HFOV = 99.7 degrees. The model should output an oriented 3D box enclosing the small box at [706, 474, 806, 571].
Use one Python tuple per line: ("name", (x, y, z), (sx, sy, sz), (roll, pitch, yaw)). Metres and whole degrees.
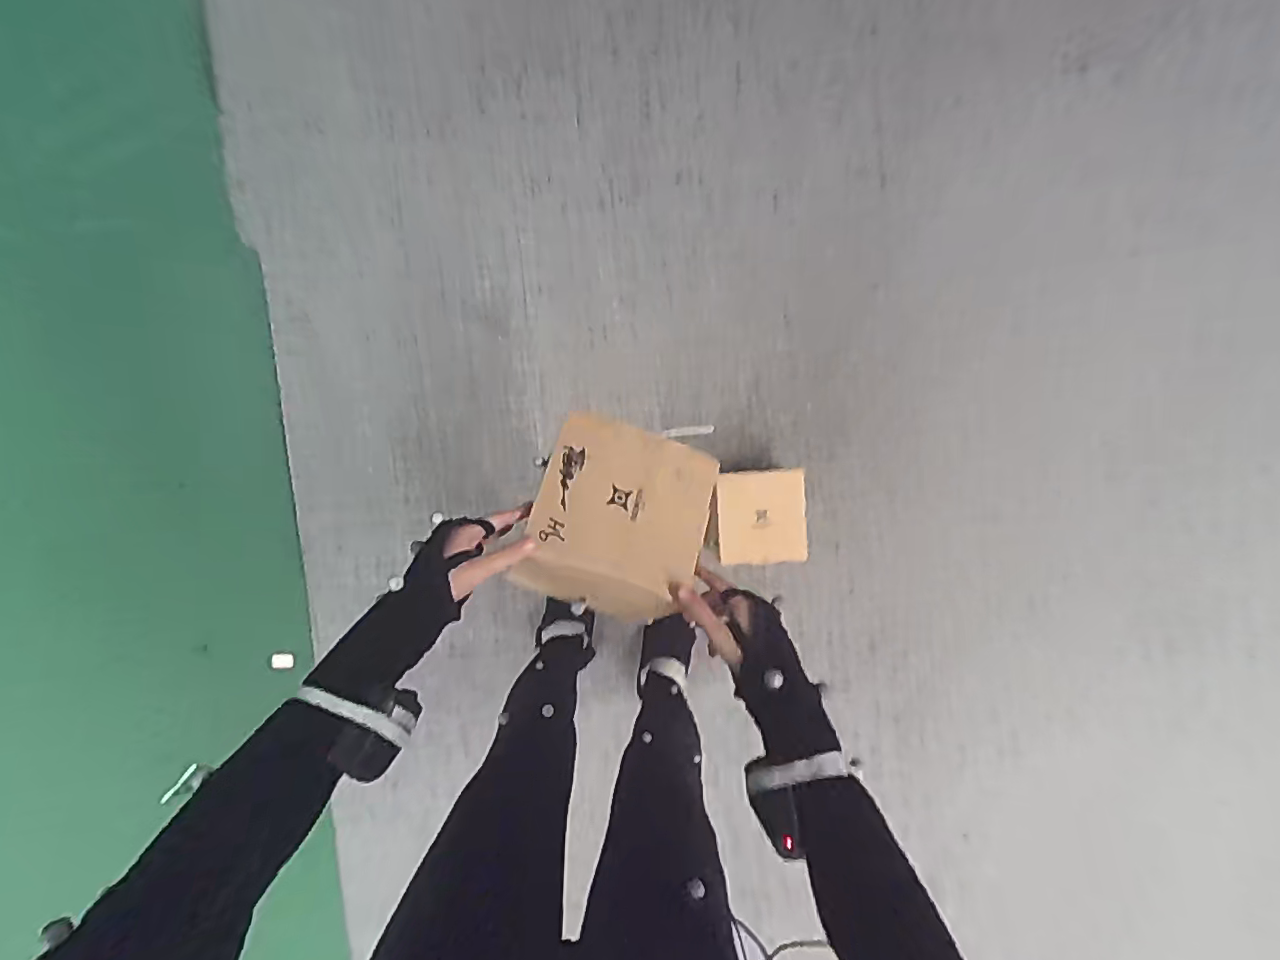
("small box", (0.228, 0.078, 1.095), (0.168, 0.176, 0.179), (-4, 93, 2))
